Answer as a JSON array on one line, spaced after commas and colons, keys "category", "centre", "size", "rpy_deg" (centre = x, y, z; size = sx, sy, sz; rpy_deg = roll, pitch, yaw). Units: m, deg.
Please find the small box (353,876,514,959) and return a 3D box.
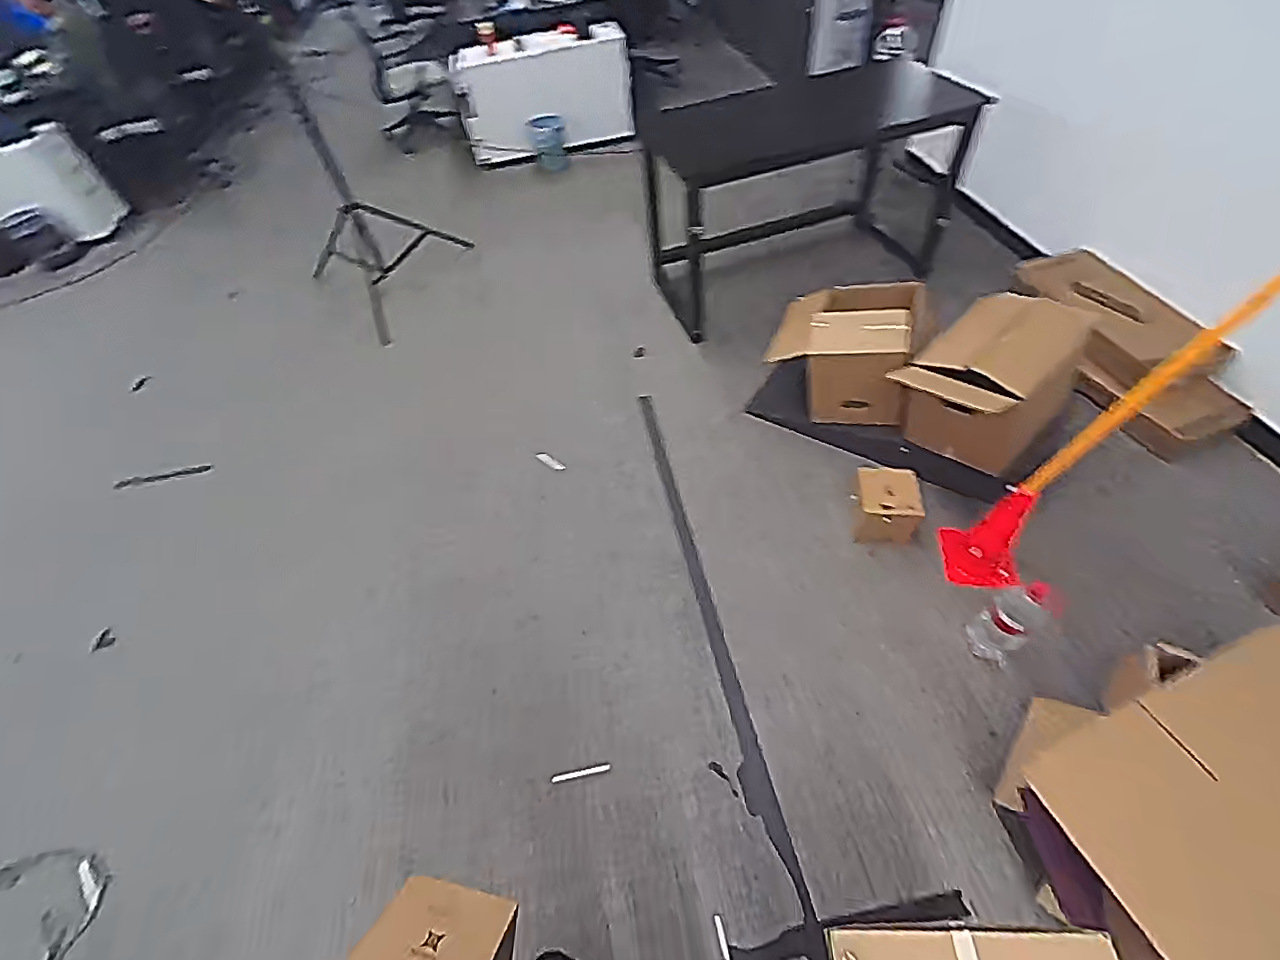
[{"category": "small box", "centre": [-0.278, 0.678, 0.702], "size": [0.168, 0.179, 0.176], "rpy_deg": [9, 99, 9]}]
